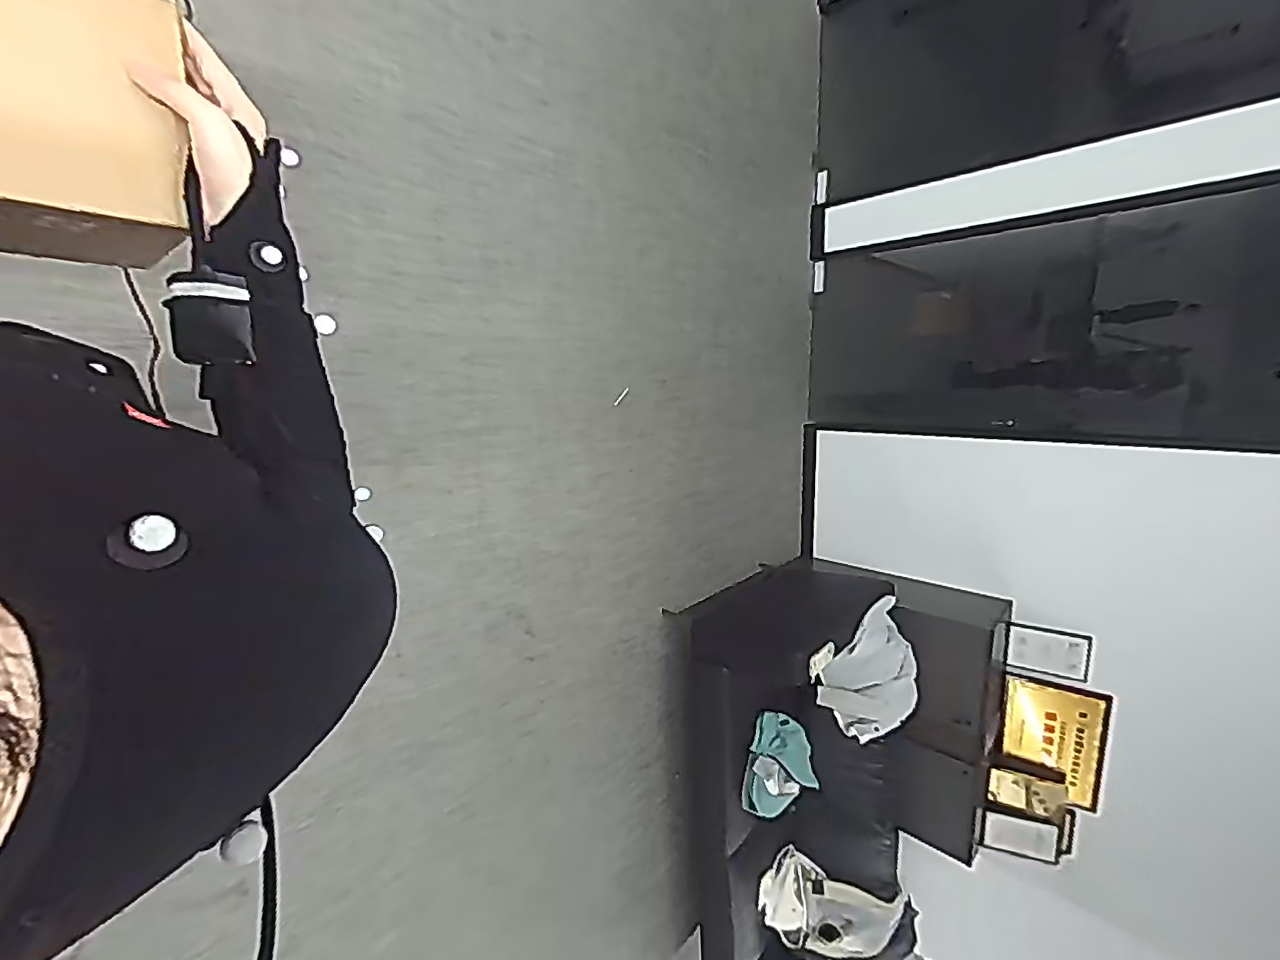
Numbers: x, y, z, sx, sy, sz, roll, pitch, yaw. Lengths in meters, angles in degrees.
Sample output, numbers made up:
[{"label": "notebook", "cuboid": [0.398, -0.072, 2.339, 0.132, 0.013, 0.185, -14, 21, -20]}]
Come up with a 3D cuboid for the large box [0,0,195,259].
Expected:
[{"label": "large box", "cuboid": [-0.578, -0.343, 0.332, 0.408, 0.320, 0.320, -11, 108, -47]}]
